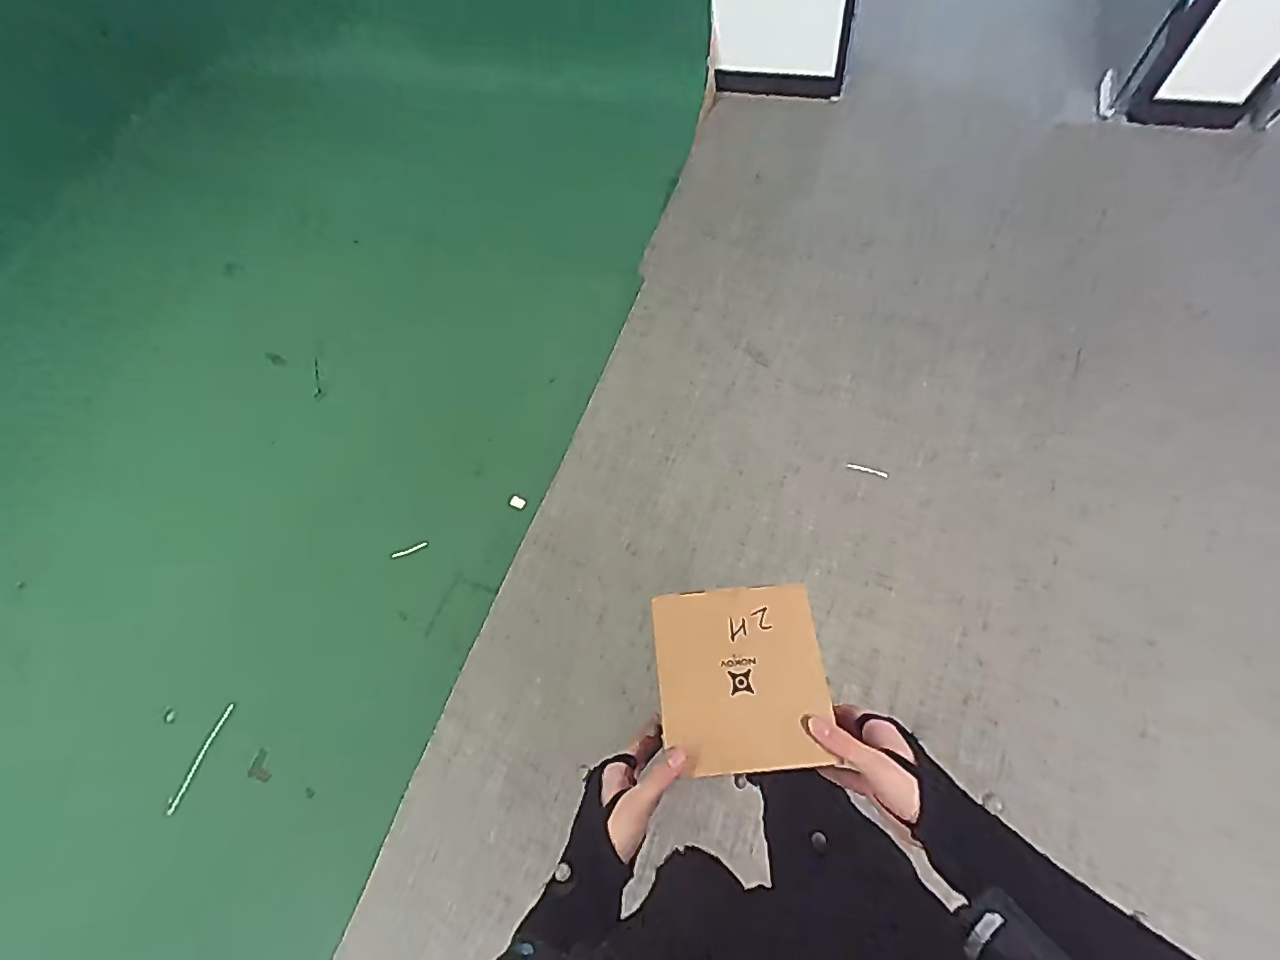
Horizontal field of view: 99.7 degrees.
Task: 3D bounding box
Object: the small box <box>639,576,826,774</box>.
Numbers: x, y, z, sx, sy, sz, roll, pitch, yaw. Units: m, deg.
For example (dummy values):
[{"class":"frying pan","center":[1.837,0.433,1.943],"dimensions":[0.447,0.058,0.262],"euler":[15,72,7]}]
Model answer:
[{"class":"small box","center":[0.086,0.215,0.591],"dimensions":[0.168,0.176,0.179],"euler":[-3,63,0]}]
